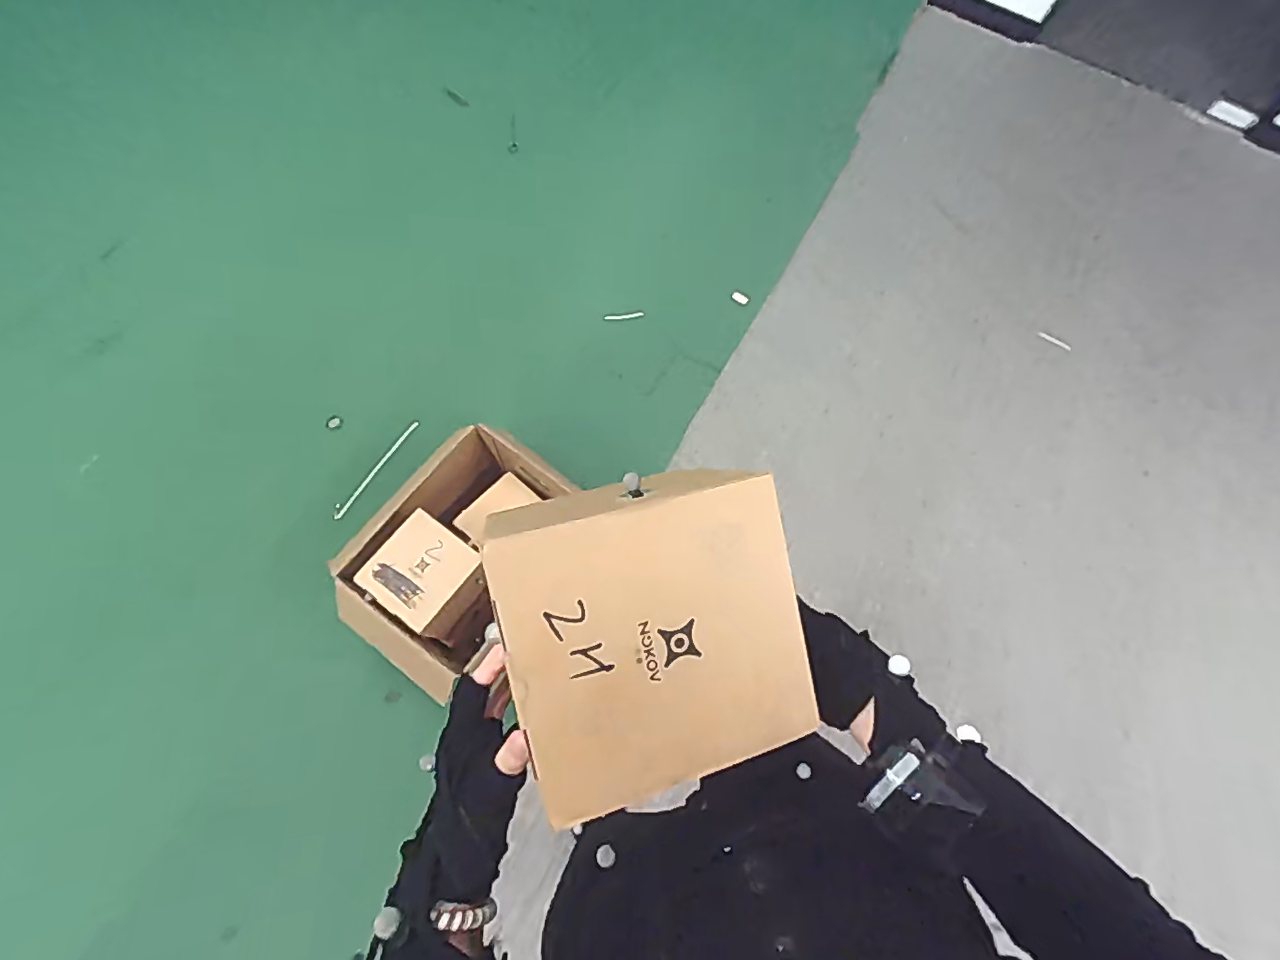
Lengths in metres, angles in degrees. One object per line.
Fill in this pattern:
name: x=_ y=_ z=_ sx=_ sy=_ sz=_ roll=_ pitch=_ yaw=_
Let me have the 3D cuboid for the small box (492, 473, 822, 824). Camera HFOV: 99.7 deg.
small box: x=-0.003 y=0.090 z=0.387 sx=0.179 sy=0.176 sz=0.168 roll=-13 pitch=94 yaw=-14
